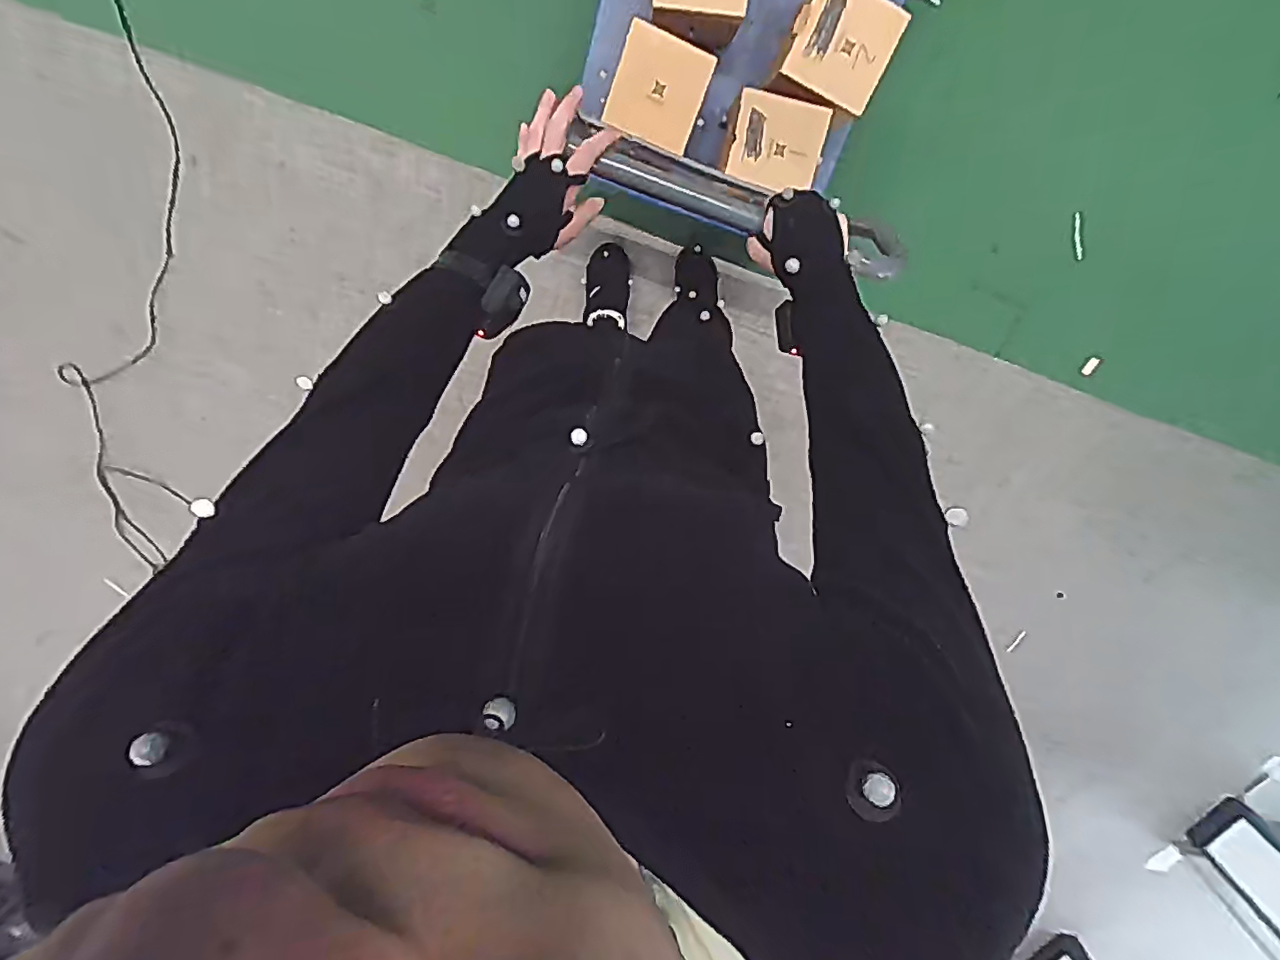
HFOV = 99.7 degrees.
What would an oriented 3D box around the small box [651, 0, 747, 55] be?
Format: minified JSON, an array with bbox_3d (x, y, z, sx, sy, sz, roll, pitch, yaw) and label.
[{"bbox_3d":[0.110,-0.909,0.987,0.168,0.176,0.179,5,114,-3],"label":"small box"}]
